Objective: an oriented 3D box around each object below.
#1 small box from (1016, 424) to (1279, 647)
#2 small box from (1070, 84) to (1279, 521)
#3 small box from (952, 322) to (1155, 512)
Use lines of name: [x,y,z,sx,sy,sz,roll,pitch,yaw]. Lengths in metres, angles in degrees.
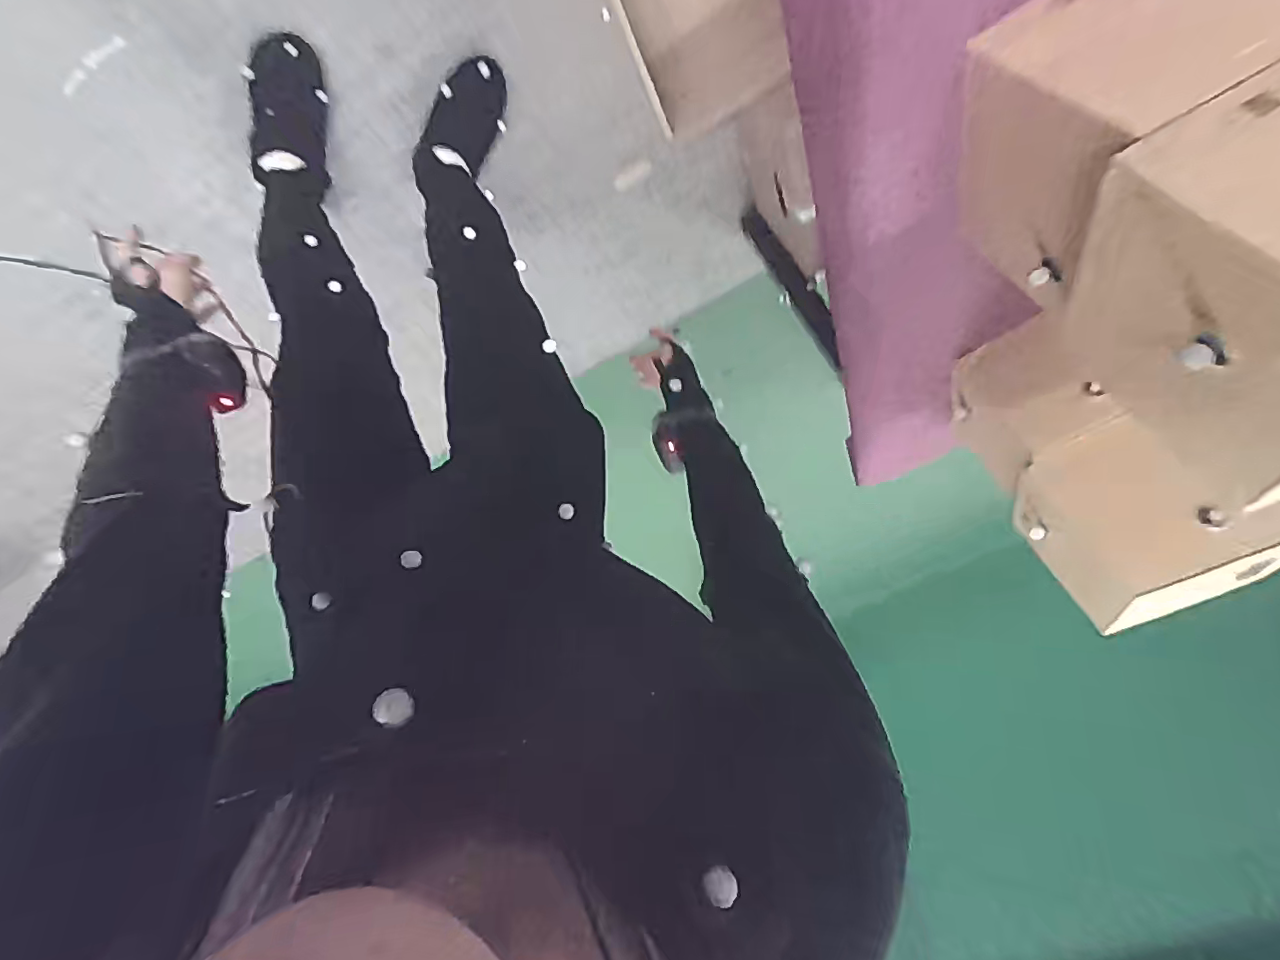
small box: [0.564,0.057,0.597,0.179,0.176,0.168,-29,141,14]
small box: [0.385,-0.111,0.298,0.168,0.176,0.179,-28,143,14]
small box: [0.526,-0.083,0.678,0.179,0.176,0.168,-29,141,14]
